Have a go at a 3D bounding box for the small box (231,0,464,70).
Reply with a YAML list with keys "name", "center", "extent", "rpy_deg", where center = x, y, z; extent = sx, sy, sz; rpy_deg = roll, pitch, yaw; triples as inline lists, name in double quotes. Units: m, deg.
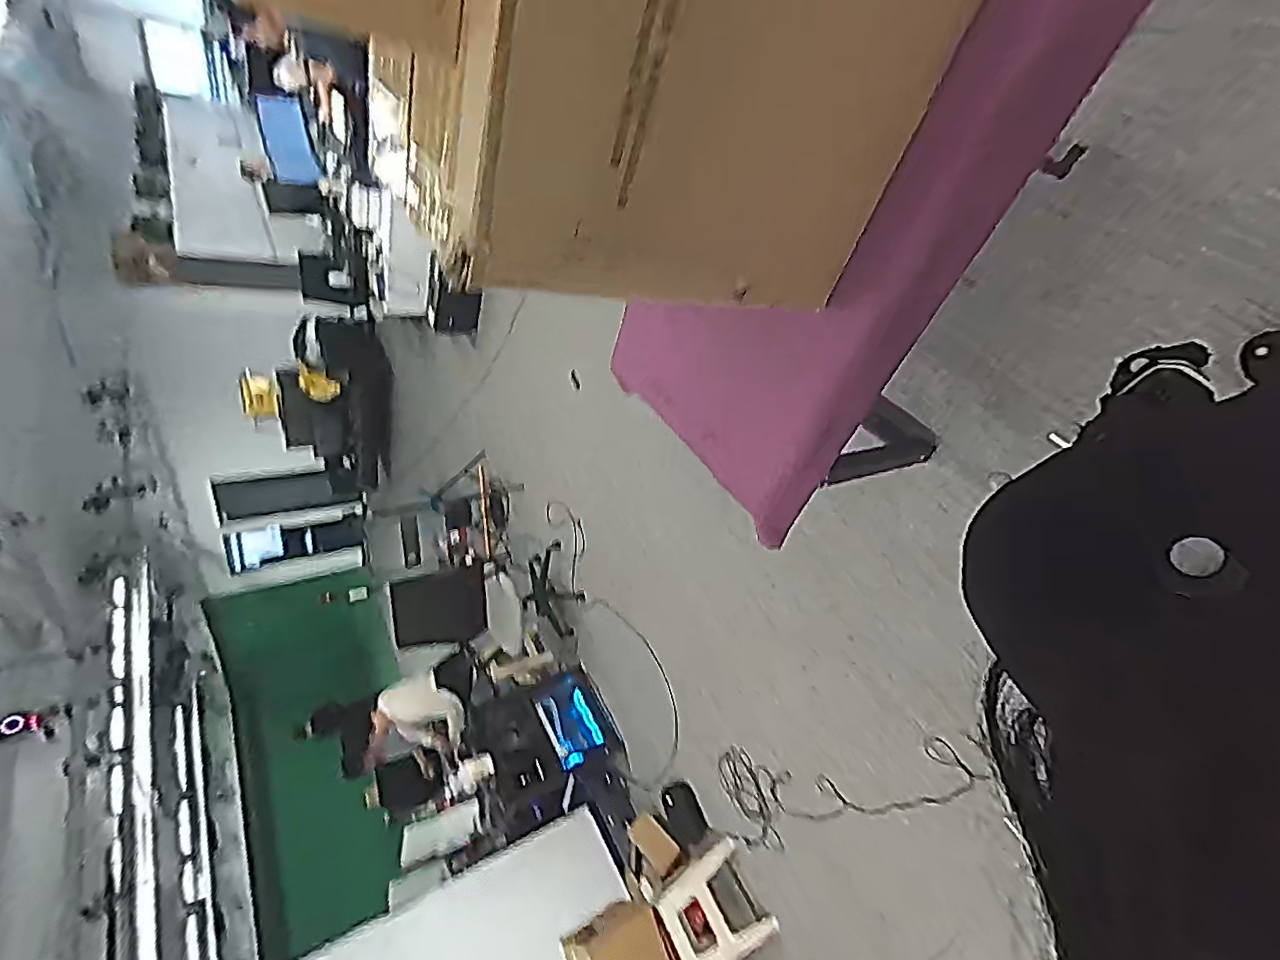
- name: "small box"
  center: [-0.254, -0.479, 0.453]
  extent: [0.179, 0.176, 0.168]
  rpy_deg: [51, 137, 31]
